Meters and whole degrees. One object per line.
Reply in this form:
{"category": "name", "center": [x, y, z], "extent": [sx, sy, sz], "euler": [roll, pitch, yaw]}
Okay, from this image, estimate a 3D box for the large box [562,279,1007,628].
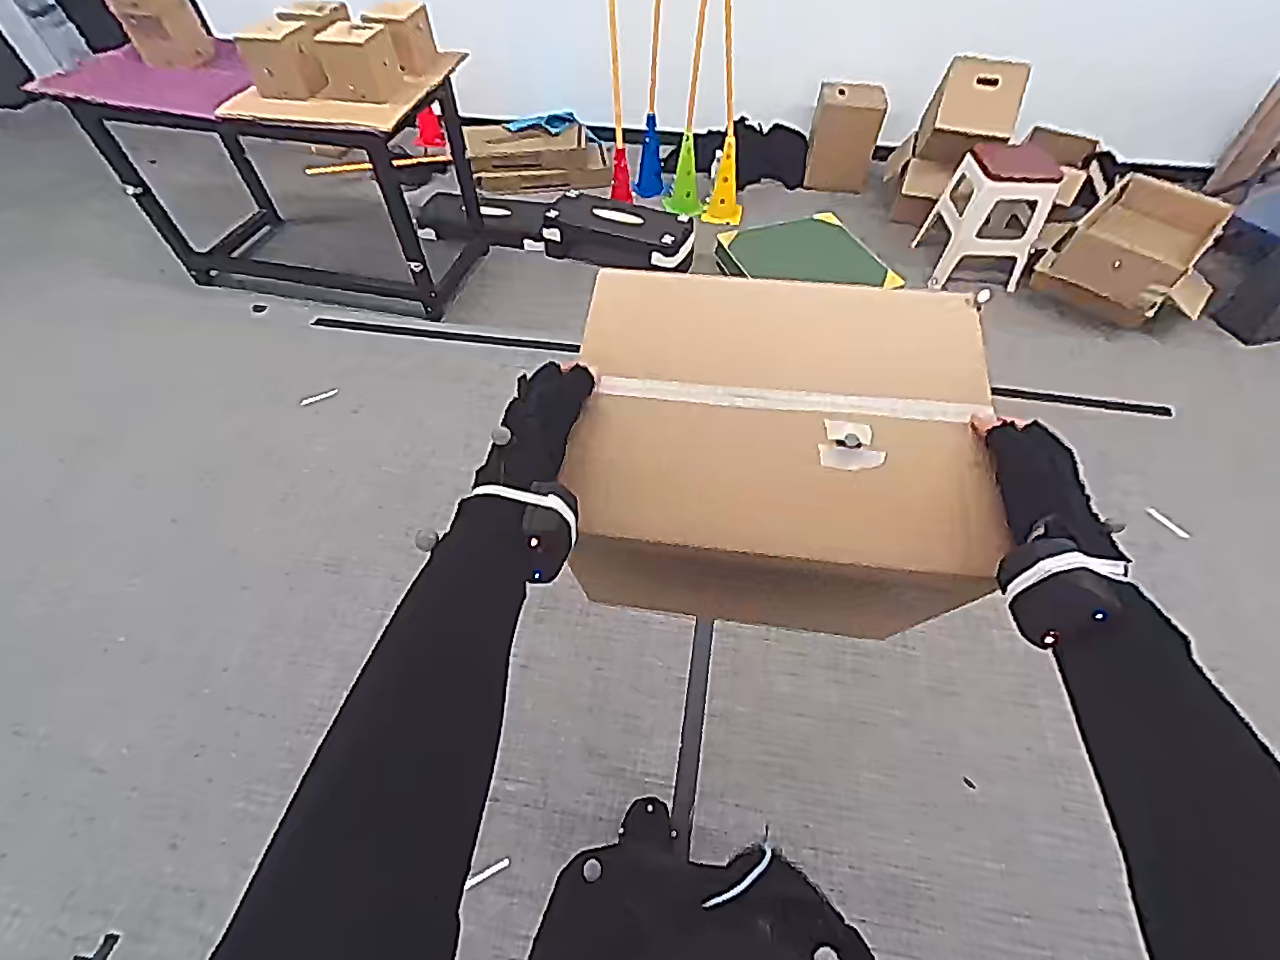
{"category": "large box", "center": [0.146, -0.015, 0.678], "extent": [0.408, 0.320, 0.320], "euler": [6, 67, 6]}
